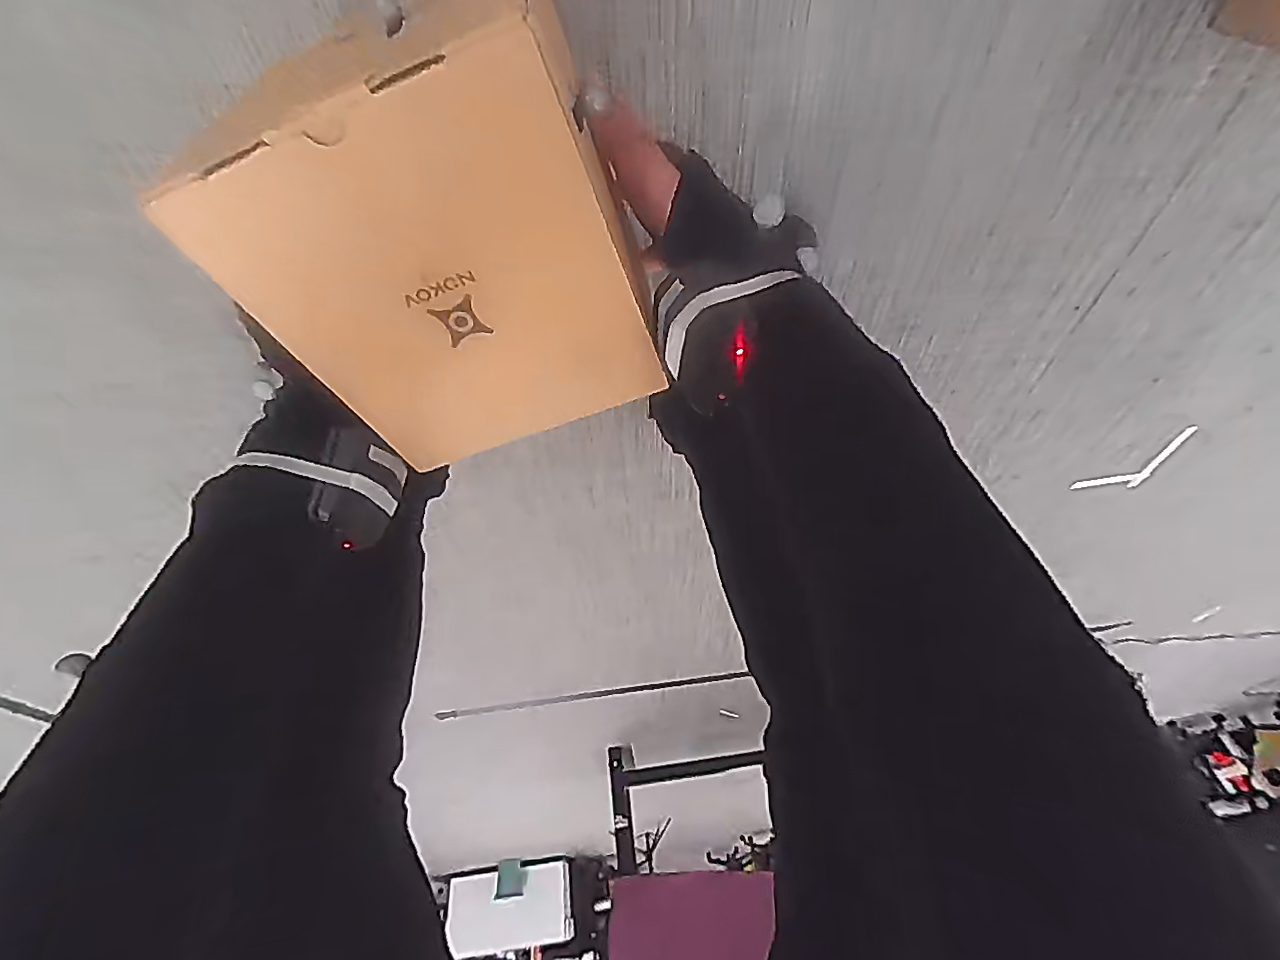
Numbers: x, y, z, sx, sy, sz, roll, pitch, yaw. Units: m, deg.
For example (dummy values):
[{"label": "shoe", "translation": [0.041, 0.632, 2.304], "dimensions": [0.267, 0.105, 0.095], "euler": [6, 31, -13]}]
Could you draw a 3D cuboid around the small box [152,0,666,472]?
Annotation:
[{"label": "small box", "translation": [-0.093, -0.138, 0.308], "dimensions": [0.168, 0.176, 0.179], "euler": [-17, 139, 10]}]
